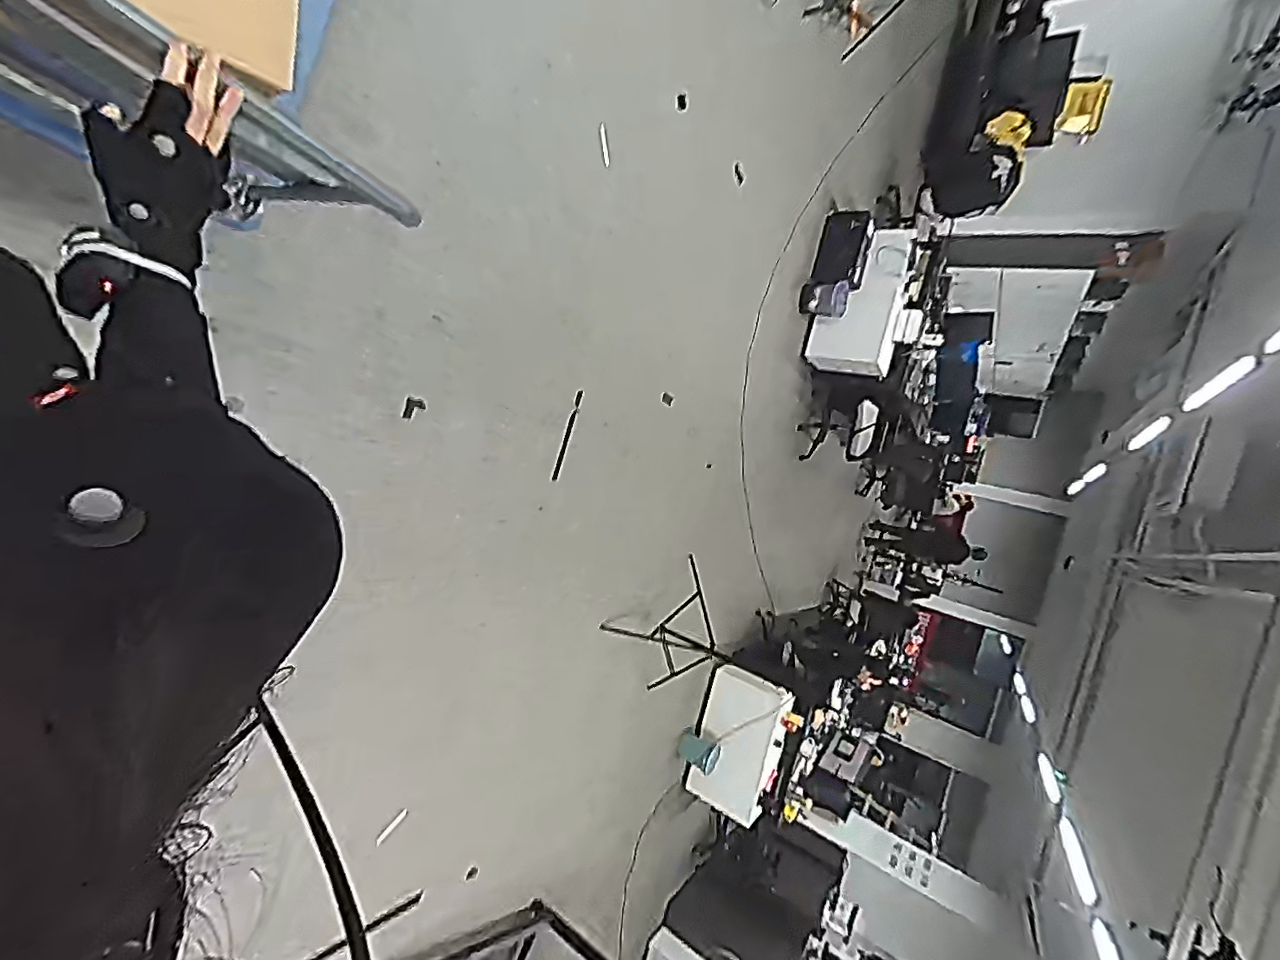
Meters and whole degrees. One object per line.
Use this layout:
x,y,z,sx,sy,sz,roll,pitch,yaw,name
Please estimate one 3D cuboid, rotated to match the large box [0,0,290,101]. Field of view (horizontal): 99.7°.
-0.770,-0.806,0.746,0.408,0.320,0.320,-5,109,-57,large box
